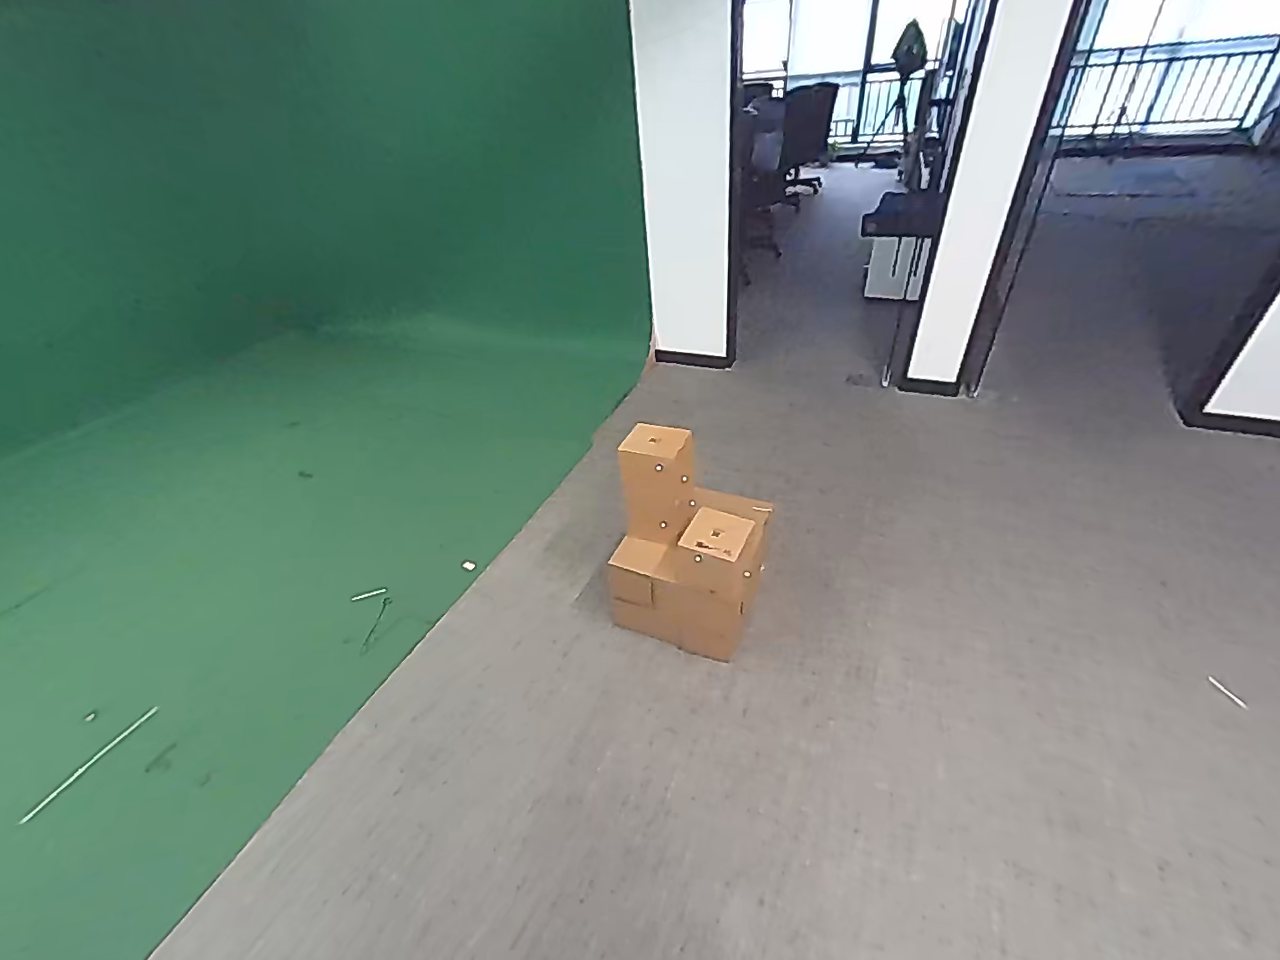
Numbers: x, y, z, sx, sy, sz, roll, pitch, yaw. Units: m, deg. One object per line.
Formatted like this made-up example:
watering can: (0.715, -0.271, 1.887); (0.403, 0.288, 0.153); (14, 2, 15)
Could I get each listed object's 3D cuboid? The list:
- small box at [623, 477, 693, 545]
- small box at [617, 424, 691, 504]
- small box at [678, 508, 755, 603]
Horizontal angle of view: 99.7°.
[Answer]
small box: (0.063, 0.087, 1.723); (0.179, 0.176, 0.168); (10, 38, 21)
small box: (0.047, -0.047, 1.632); (0.179, 0.176, 0.168); (11, 39, 21)
small box: (0.215, 0.213, 1.533); (0.168, 0.176, 0.179); (16, 41, 24)
